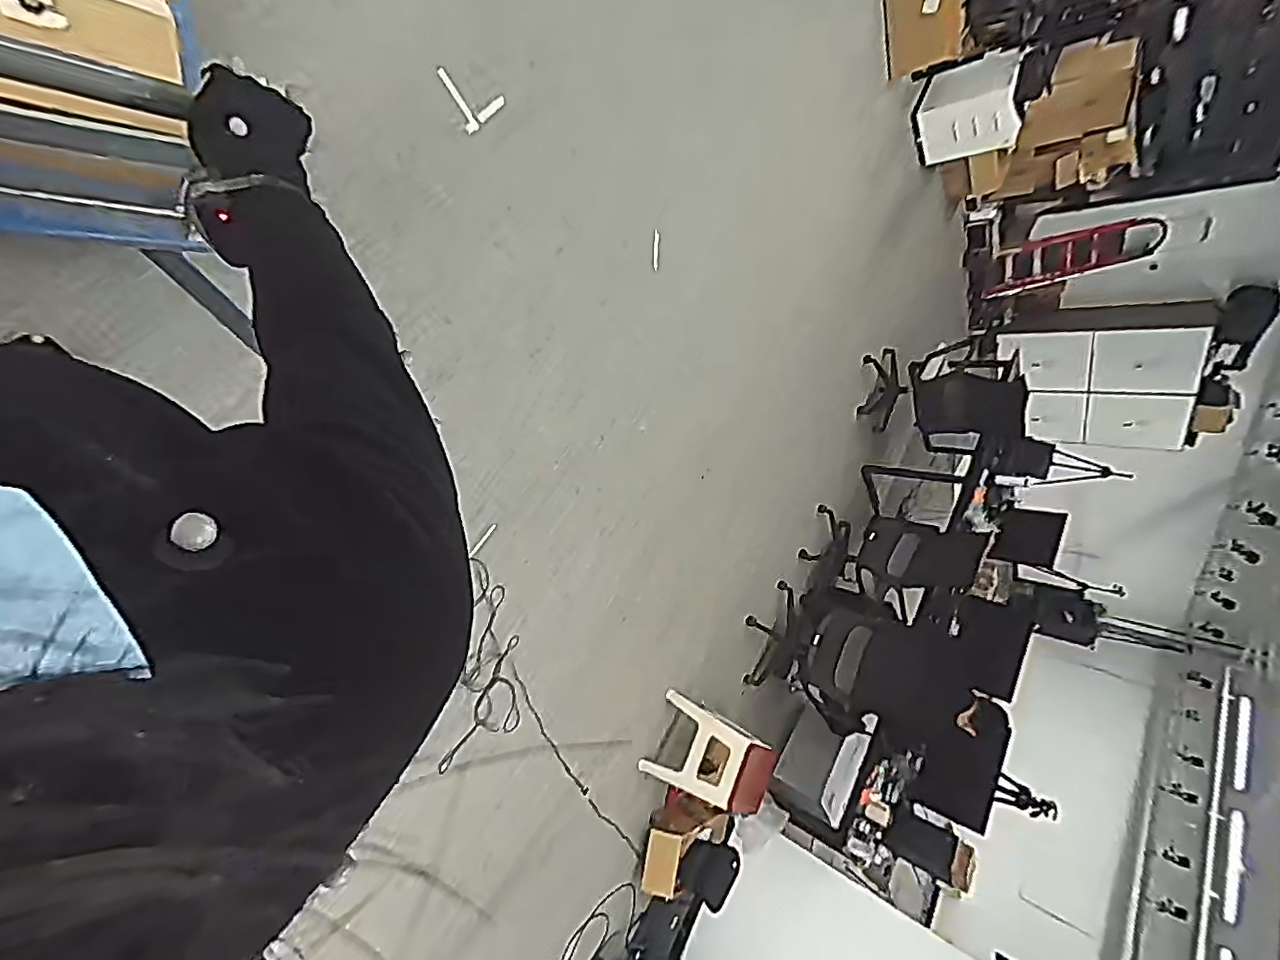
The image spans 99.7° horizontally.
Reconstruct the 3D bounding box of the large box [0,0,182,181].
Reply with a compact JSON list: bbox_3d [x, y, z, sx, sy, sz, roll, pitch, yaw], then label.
[{"bbox_3d":[-0.893,-0.619,0.684,0.408,0.320,0.320,-15,109,-47],"label":"large box"}]
